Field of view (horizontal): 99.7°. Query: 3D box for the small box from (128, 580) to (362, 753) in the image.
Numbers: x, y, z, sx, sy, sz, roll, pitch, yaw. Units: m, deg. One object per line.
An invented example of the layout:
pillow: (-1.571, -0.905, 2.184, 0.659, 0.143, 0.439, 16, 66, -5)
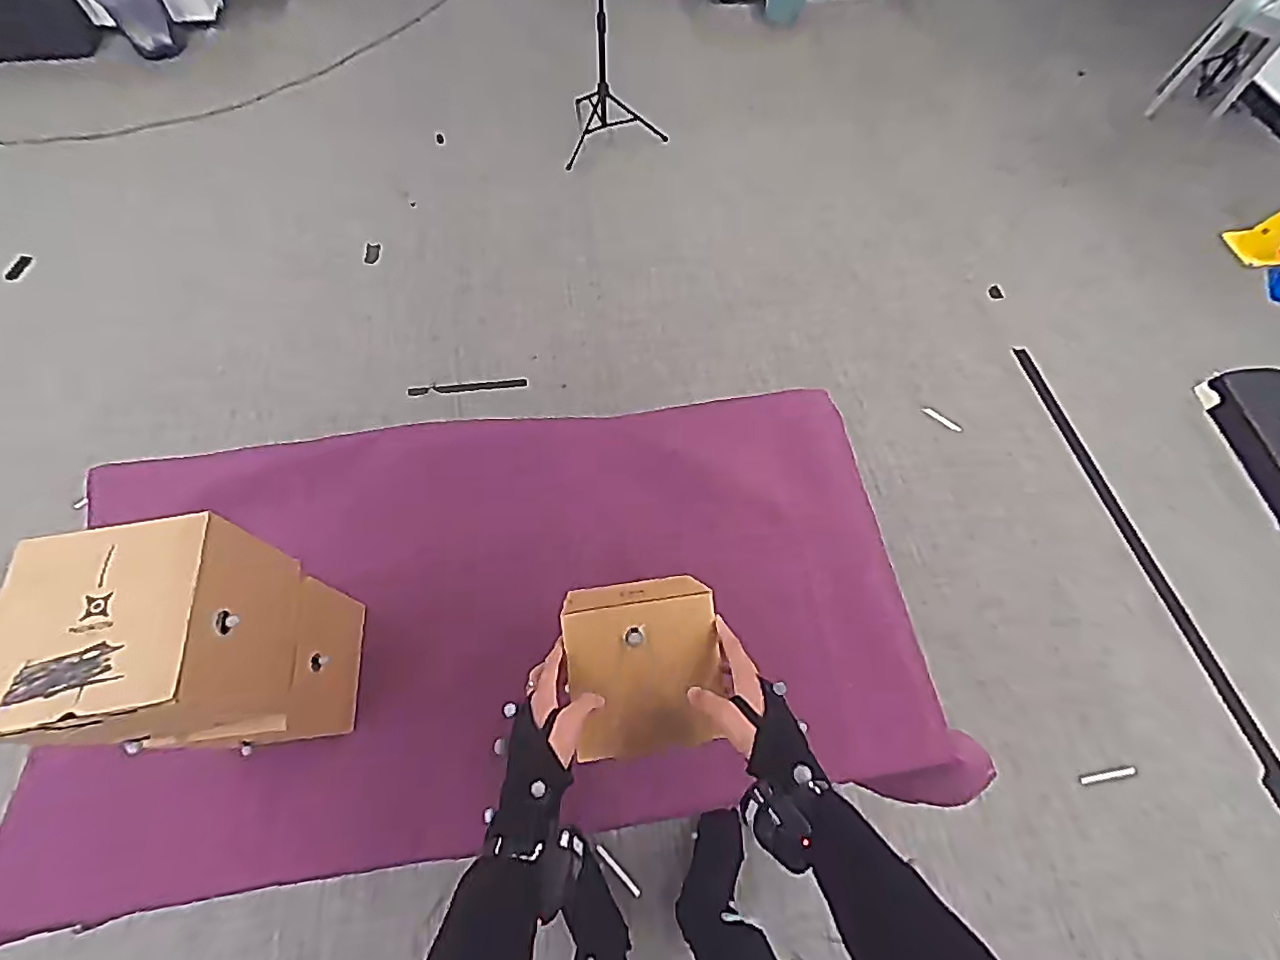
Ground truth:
small box: (-0.475, 0.239, 0.686, 0.168, 0.176, 0.179, -5, 64, -5)

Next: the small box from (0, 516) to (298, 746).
small box: (-0.475, 0.157, 0.543, 0.168, 0.176, 0.179, -9, 64, -7)

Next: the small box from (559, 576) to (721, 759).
small box: (-0.001, 0.225, 0.684, 0.179, 0.168, 0.176, -8, 86, -5)
